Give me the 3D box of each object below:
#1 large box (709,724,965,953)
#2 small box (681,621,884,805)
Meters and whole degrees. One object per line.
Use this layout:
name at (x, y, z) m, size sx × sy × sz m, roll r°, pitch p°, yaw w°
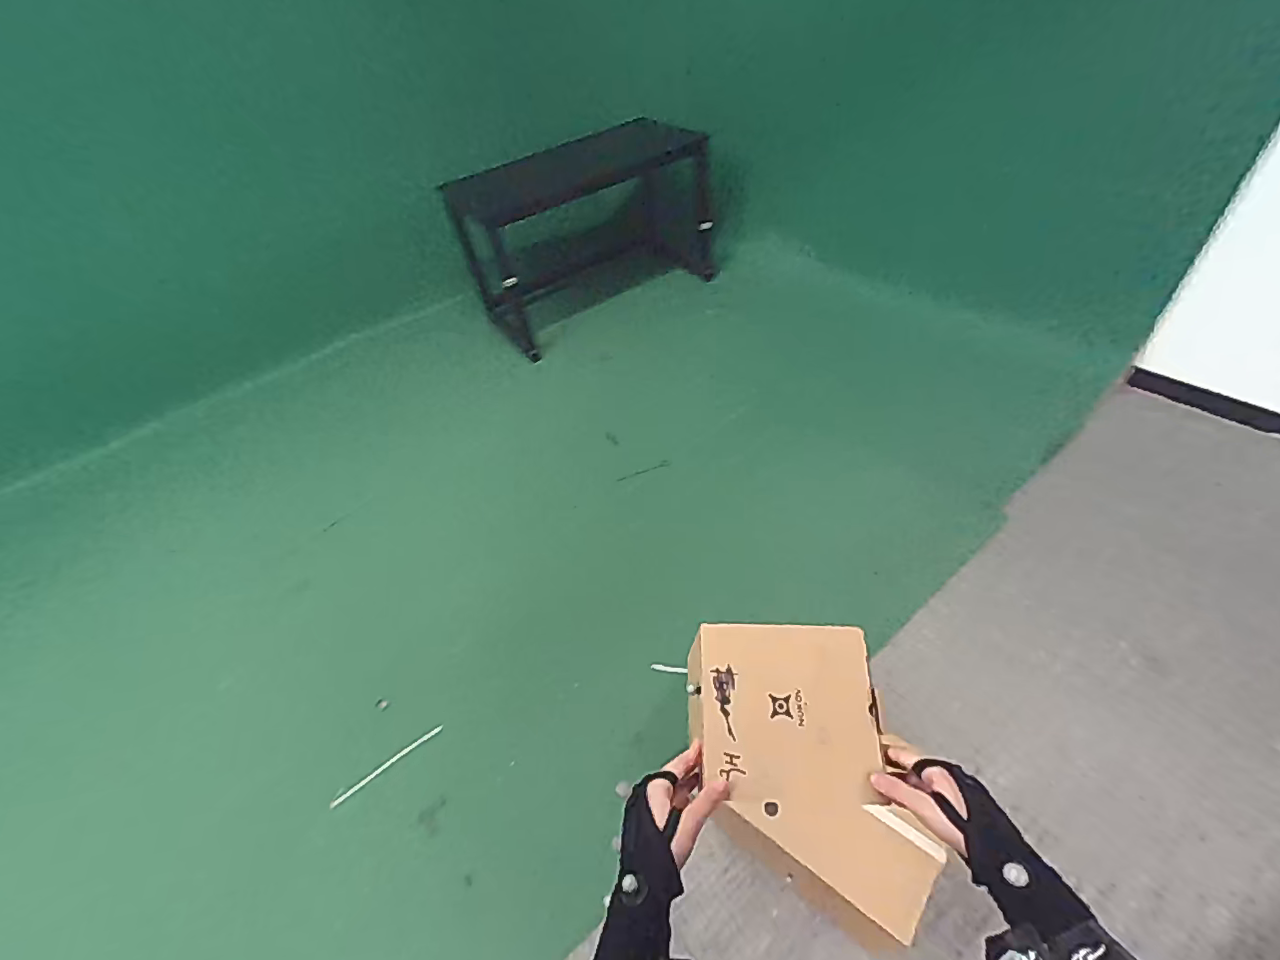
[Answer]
large box at (0.401, 0.700, 1.163) m, size 0.408 × 0.320 × 0.320 m, roll 26°, pitch 55°, yaw 31°
small box at (0.142, 0.263, 0.608) m, size 0.179 × 0.176 × 0.168 m, roll 1°, pitch 61°, yaw 0°
